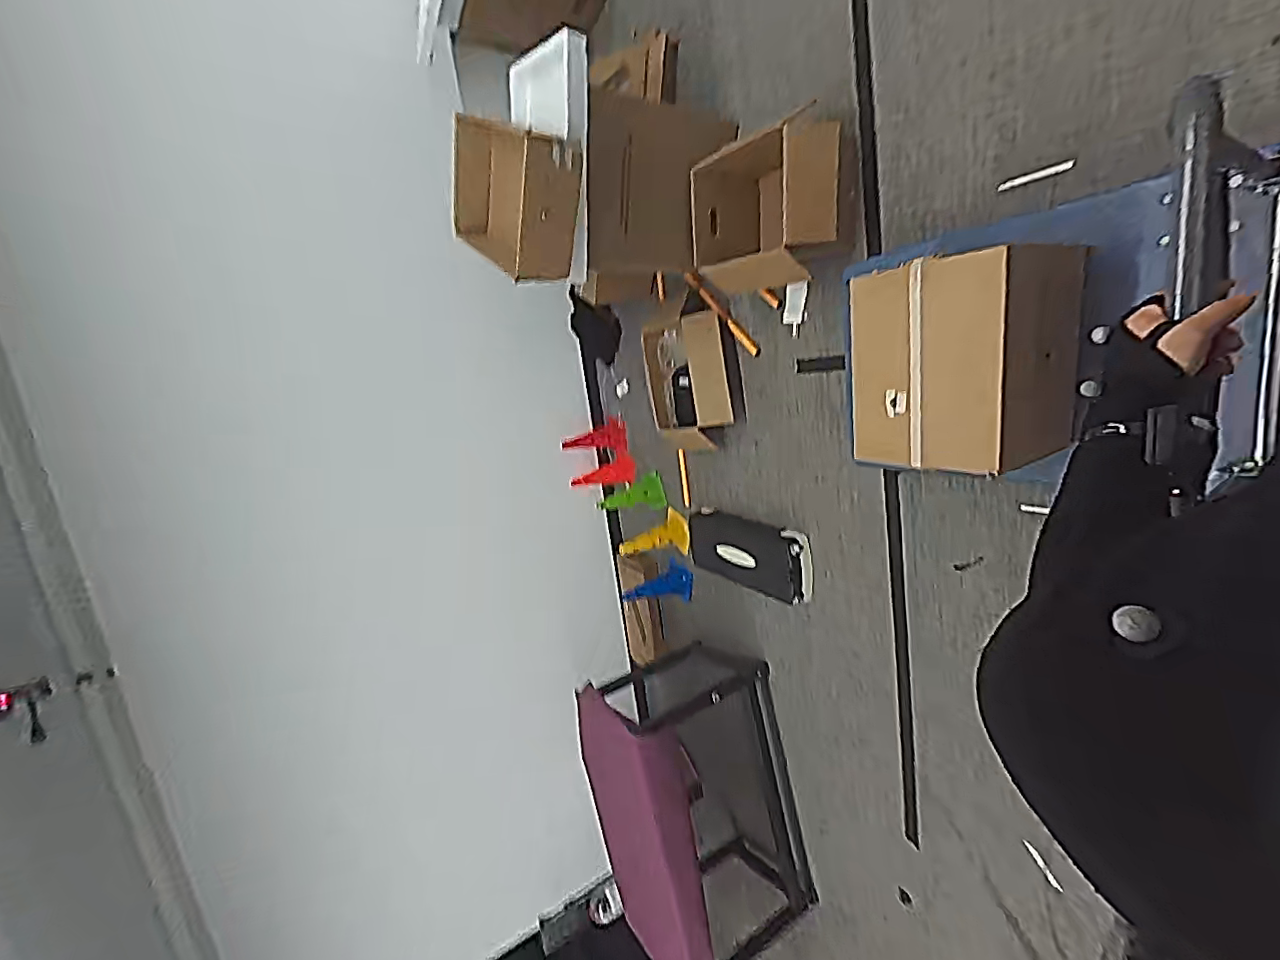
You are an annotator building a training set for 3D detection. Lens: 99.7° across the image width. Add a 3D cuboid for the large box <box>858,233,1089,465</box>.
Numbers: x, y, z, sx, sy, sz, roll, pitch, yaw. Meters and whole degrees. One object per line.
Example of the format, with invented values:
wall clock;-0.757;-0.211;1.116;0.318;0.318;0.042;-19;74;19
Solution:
large box;0.698;-0.270;1.142;0.320;0.320;0.408;13;115;58
